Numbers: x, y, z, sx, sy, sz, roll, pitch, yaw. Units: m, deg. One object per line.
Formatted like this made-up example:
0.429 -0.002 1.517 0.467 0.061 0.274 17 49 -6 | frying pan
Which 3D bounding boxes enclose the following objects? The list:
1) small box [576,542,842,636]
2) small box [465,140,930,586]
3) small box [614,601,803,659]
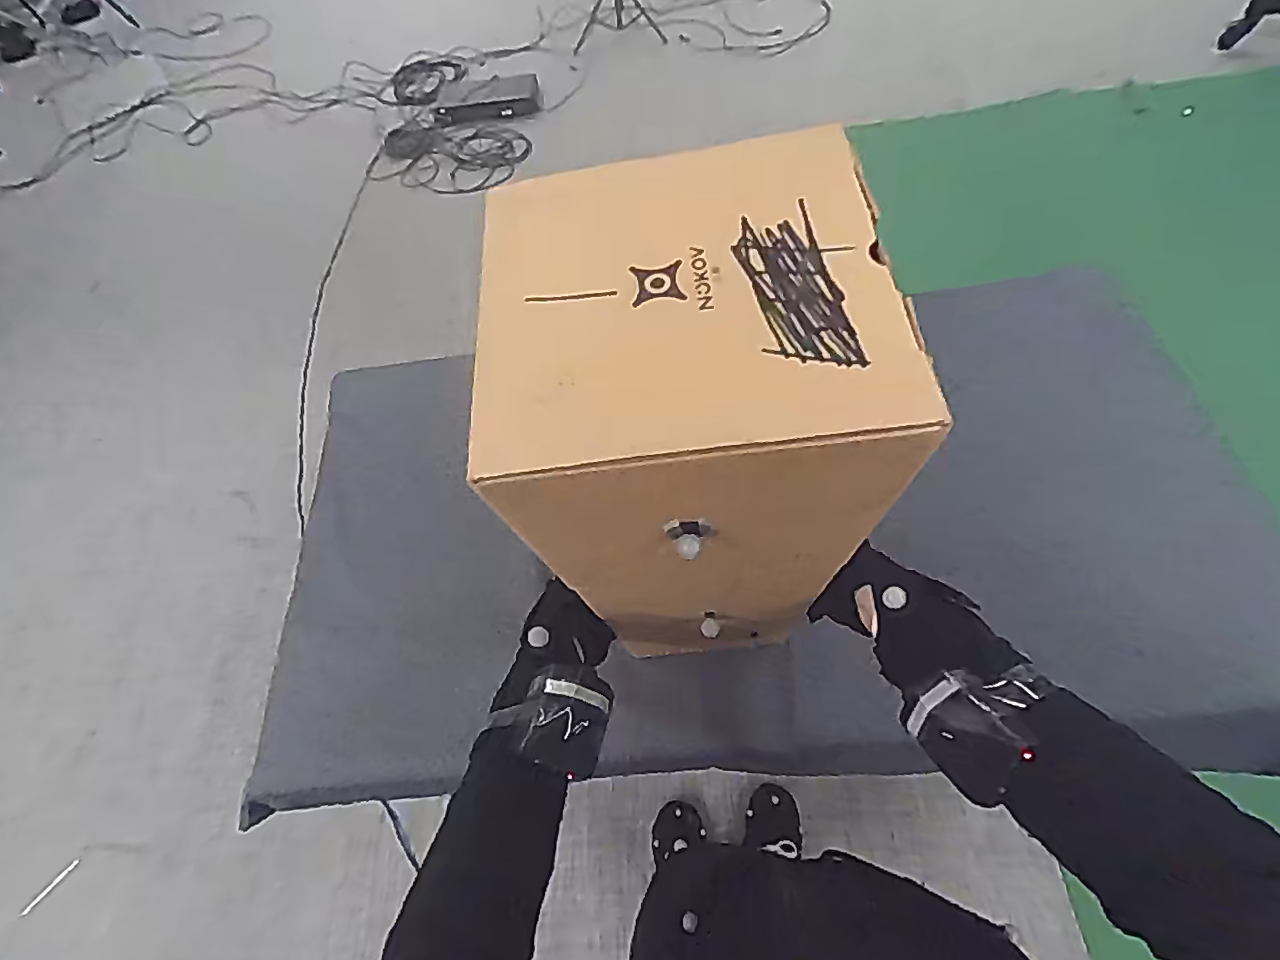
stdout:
0.044 0.026 0.453 0.179 0.176 0.168 -10 64 4 | small box
0.024 -0.046 0.304 0.179 0.176 0.168 -7 64 6 | small box
0.066 0.095 0.598 0.179 0.176 0.168 -9 63 5 | small box
